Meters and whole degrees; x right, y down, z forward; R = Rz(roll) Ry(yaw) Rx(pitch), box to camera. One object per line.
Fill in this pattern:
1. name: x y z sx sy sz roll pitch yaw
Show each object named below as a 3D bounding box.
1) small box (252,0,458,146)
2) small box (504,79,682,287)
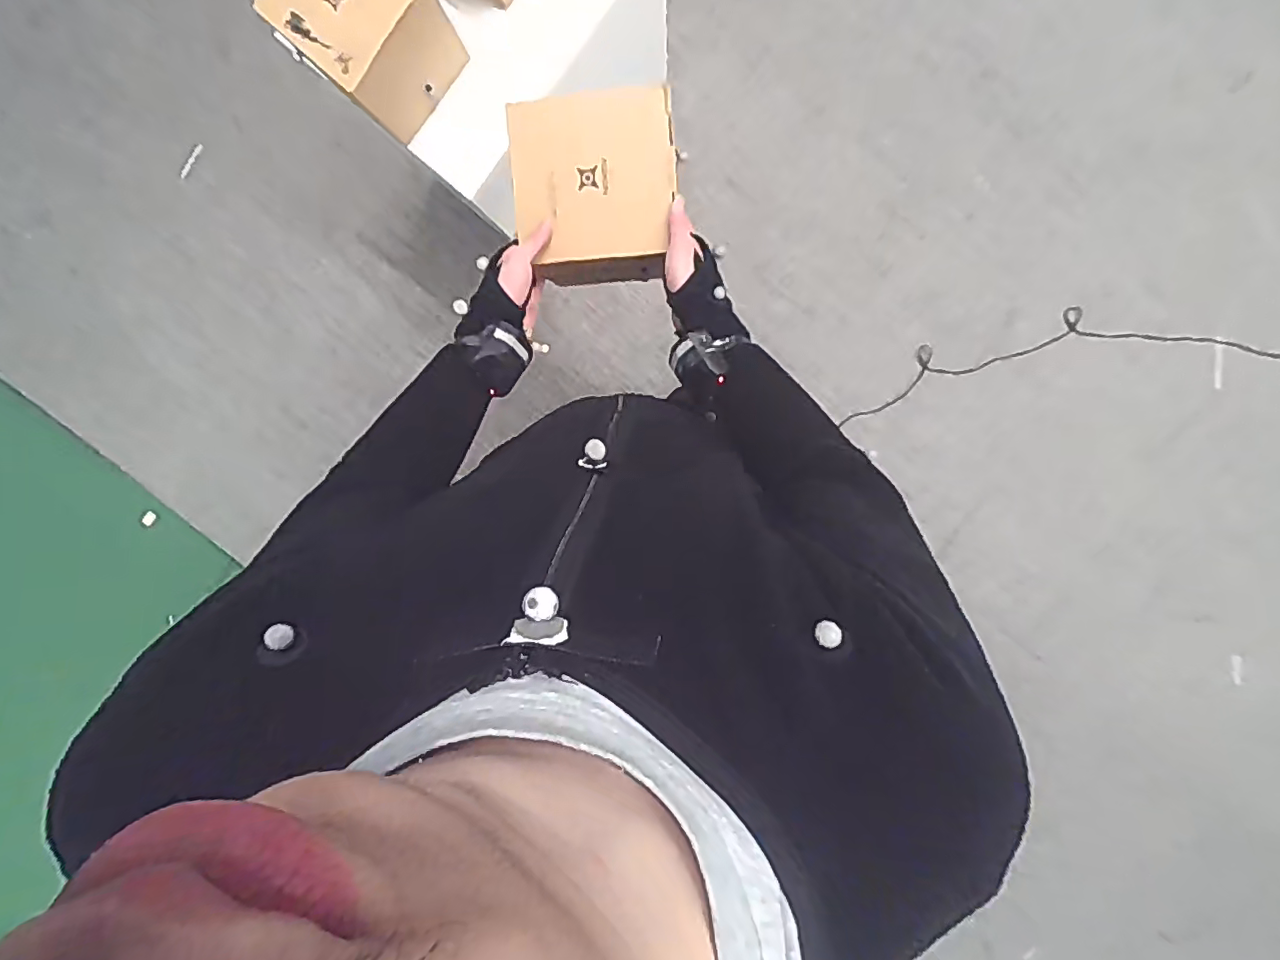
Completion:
1. small box: -0.389 -0.638 0.777 0.168 0.176 0.179 41 98 -4
2. small box: -0.041 -0.333 0.642 0.179 0.176 0.168 -3 100 9
